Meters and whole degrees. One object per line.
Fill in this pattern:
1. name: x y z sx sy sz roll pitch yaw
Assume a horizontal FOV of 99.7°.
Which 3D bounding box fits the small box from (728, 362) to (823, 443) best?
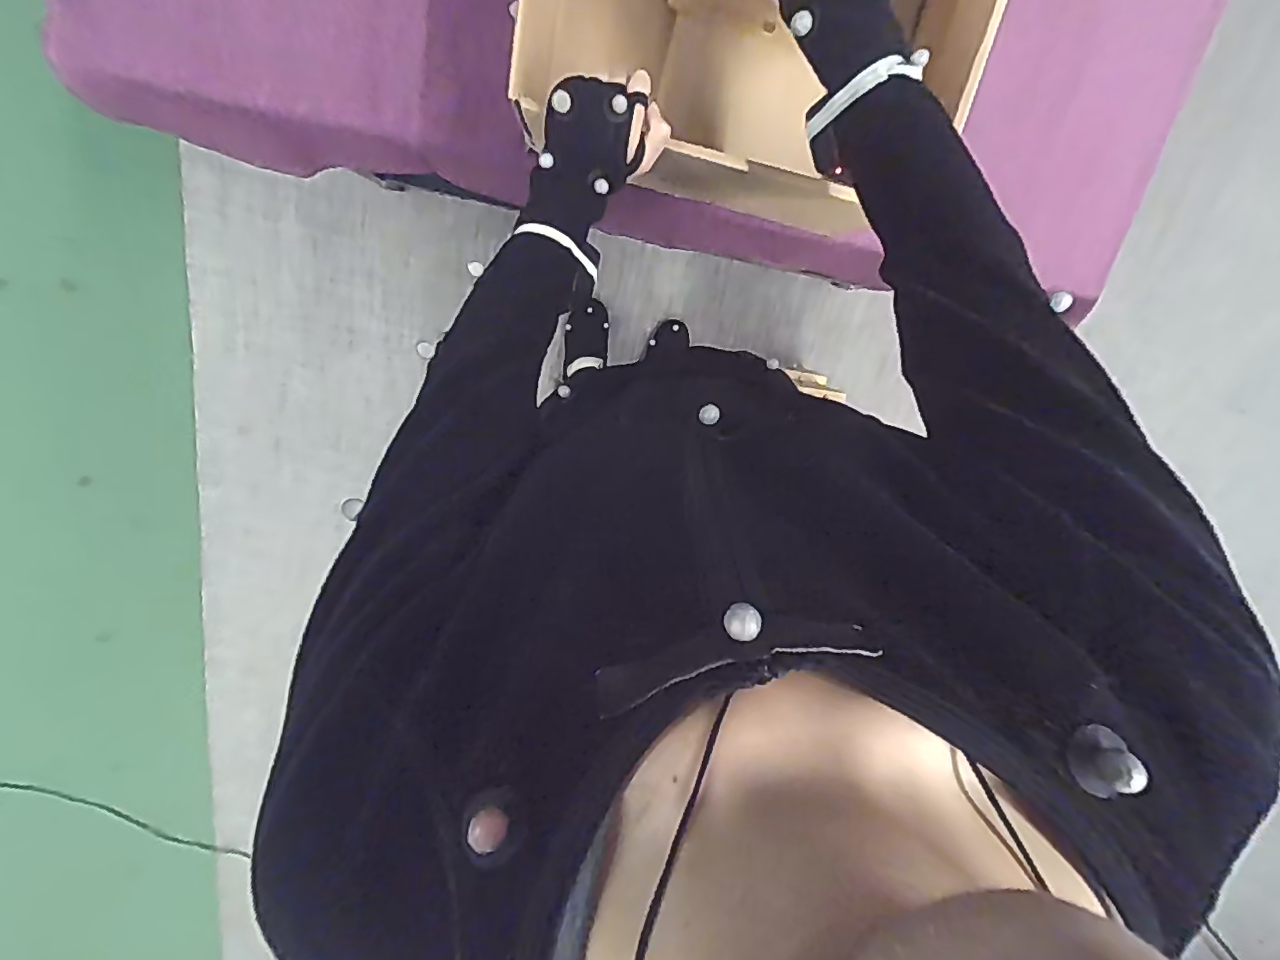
1. small box: 0.344 -0.208 1.409 0.179 0.176 0.168 9 108 -6
